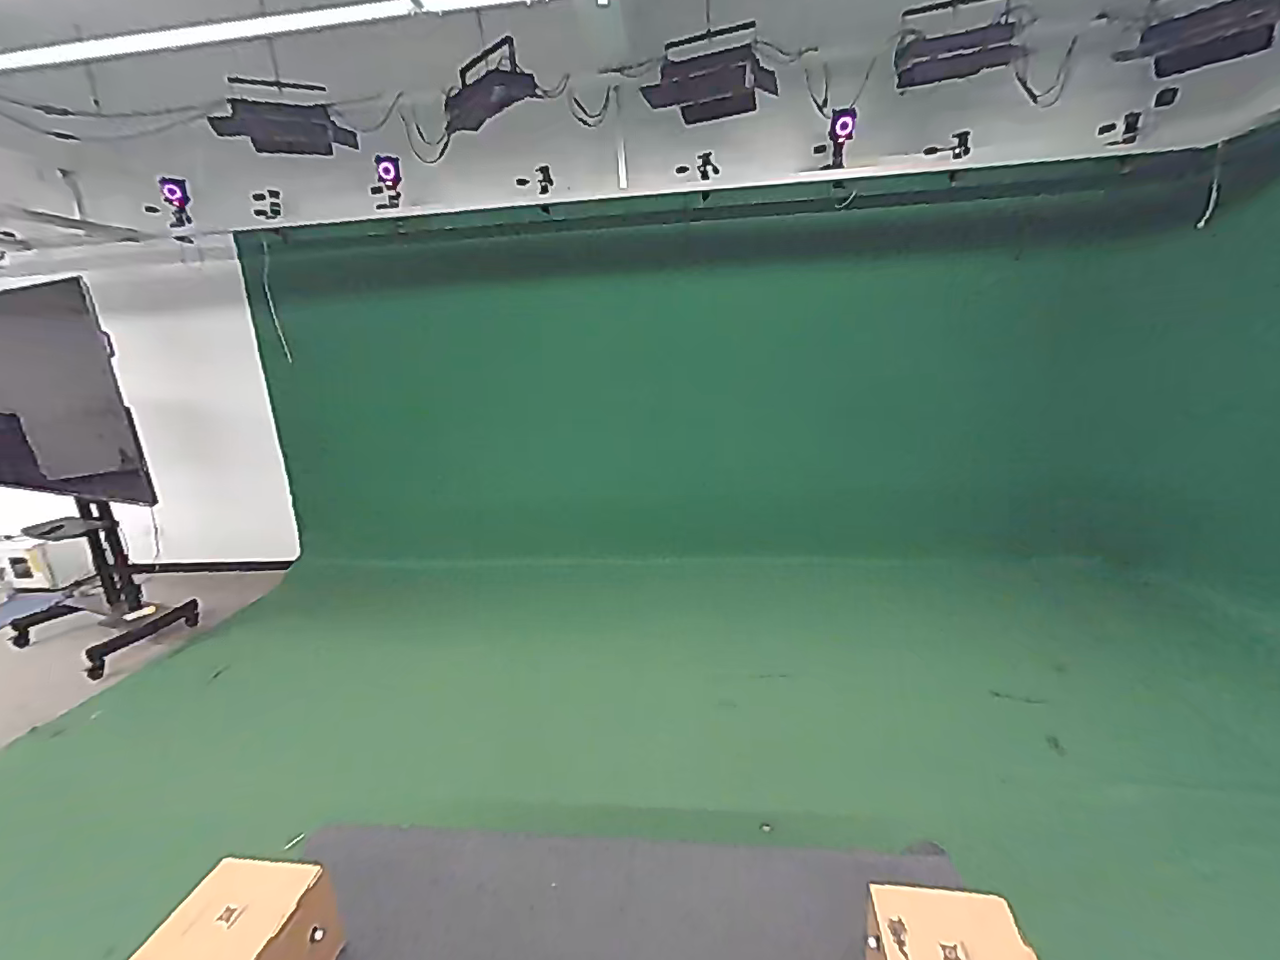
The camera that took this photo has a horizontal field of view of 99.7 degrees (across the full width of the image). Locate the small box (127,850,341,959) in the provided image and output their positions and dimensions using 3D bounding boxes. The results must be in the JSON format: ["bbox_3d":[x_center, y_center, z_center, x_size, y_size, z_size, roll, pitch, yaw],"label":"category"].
[{"bbox_3d":[-0.573,0.689,0.789,0.179,0.176,0.168,-1,12,10],"label":"small box"}]

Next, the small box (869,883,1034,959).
[{"bbox_3d":[0.402,0.669,0.692,0.179,0.176,0.168,-1,15,11],"label":"small box"}]
